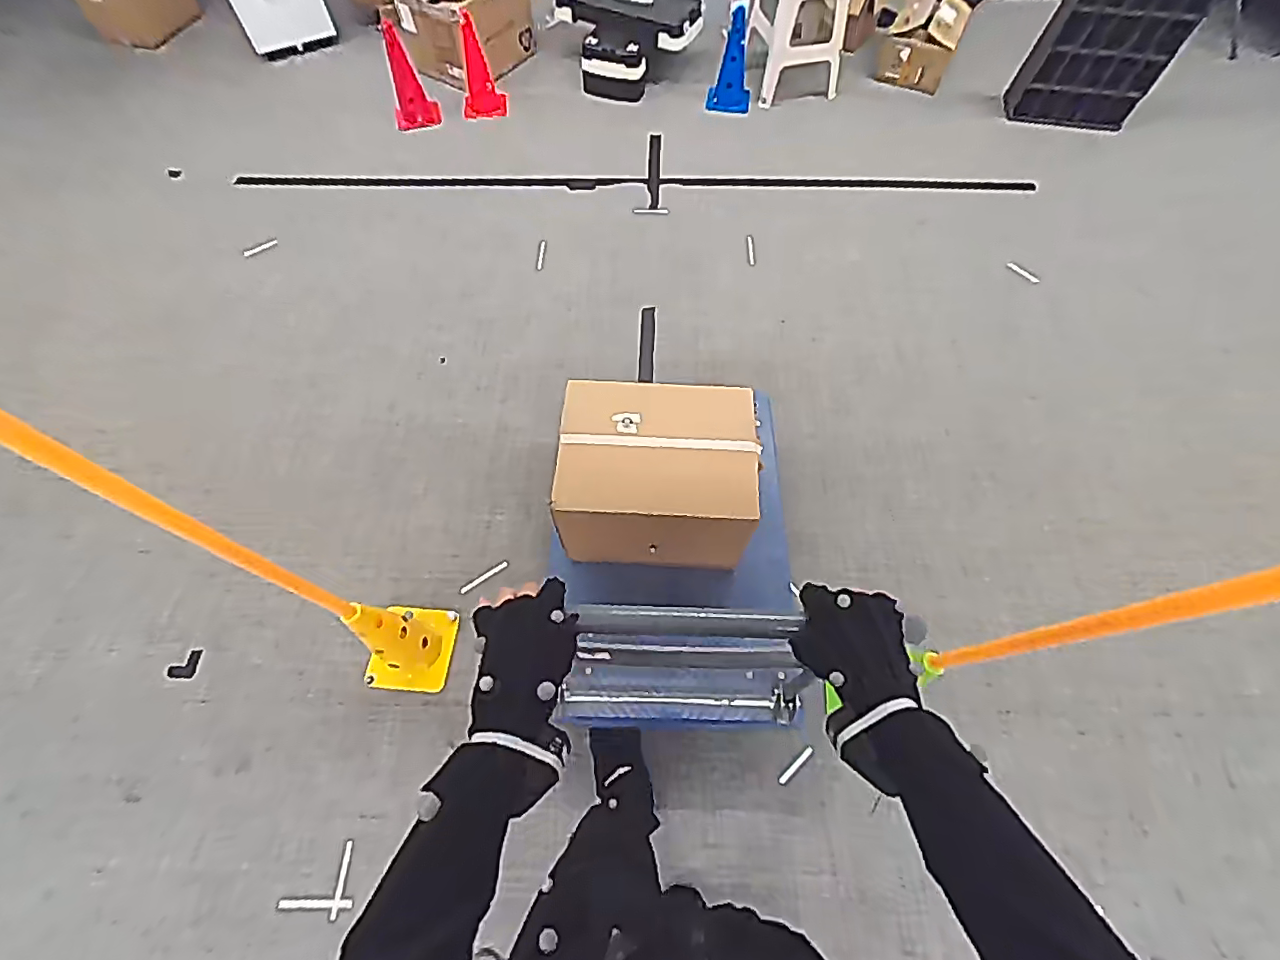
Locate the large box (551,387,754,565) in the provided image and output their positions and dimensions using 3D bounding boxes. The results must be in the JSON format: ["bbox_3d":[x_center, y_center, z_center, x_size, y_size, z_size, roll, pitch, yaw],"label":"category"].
[{"bbox_3d":[0.034,0.003,1.249,0.408,0.320,0.320,3,63,2],"label":"large box"}]

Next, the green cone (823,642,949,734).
[{"bbox_3d":[0.558,0.430,1.182,0.202,0.368,0.200,5,62,2],"label":"green cone"}]
